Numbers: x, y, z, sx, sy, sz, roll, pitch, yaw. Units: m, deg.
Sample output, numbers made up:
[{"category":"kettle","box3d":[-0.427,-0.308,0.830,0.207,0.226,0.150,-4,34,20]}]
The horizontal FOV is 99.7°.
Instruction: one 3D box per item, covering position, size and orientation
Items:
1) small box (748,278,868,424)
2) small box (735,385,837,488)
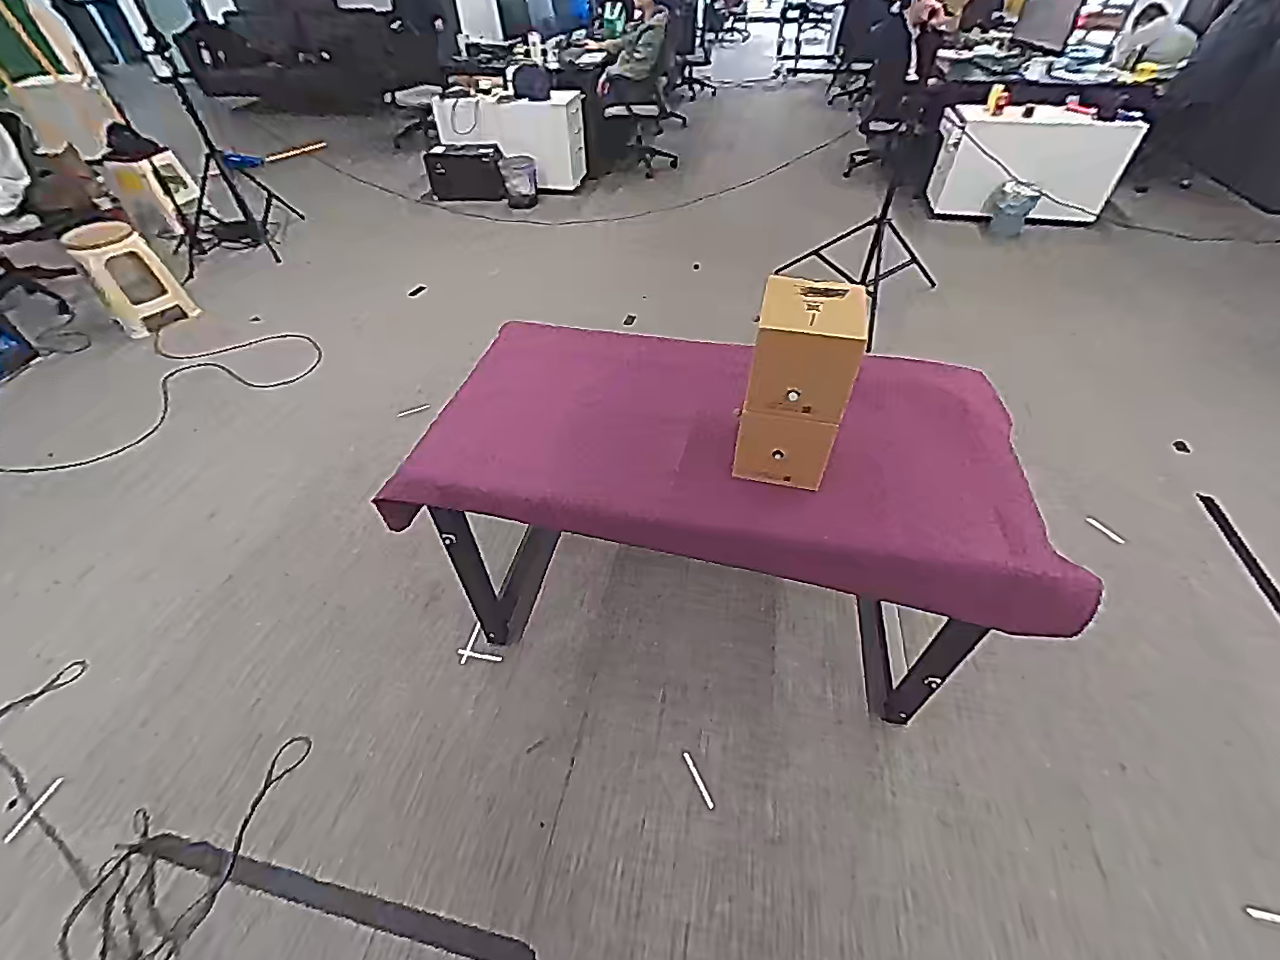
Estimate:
[{"category":"small box","box3d":[0.285,-0.224,0.936,0.168,0.176,0.179,10,47,11]},{"category":"small box","box3d":[0.283,-0.107,1.052,0.168,0.176,0.179,11,47,11]}]
